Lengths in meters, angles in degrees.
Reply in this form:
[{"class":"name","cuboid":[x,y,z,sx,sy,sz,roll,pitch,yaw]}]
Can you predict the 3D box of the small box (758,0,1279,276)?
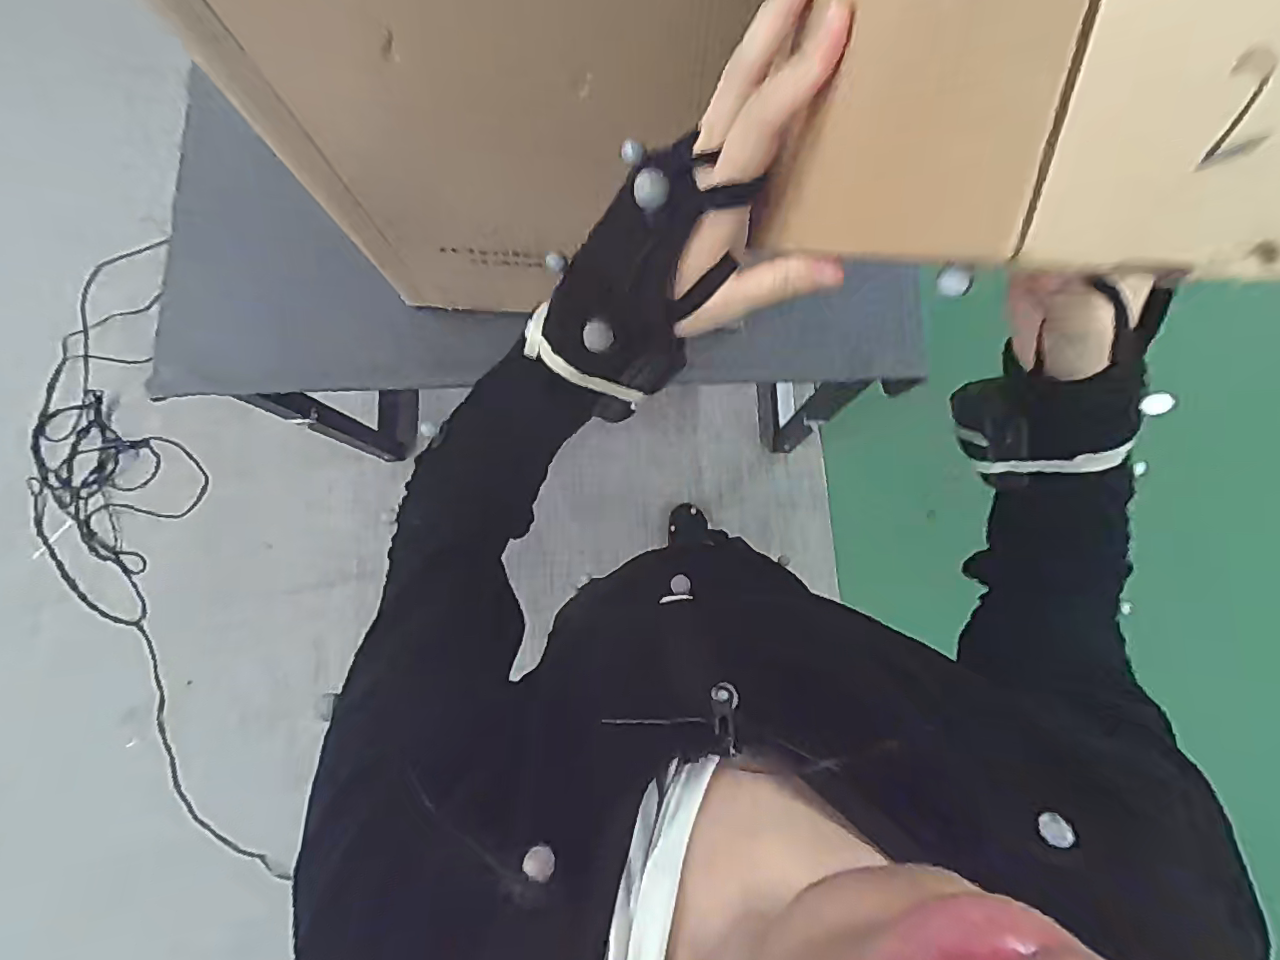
[{"class":"small box","cuboid":[0.155,-0.169,0.186,0.168,0.176,0.179,-3,116,-12]}]
